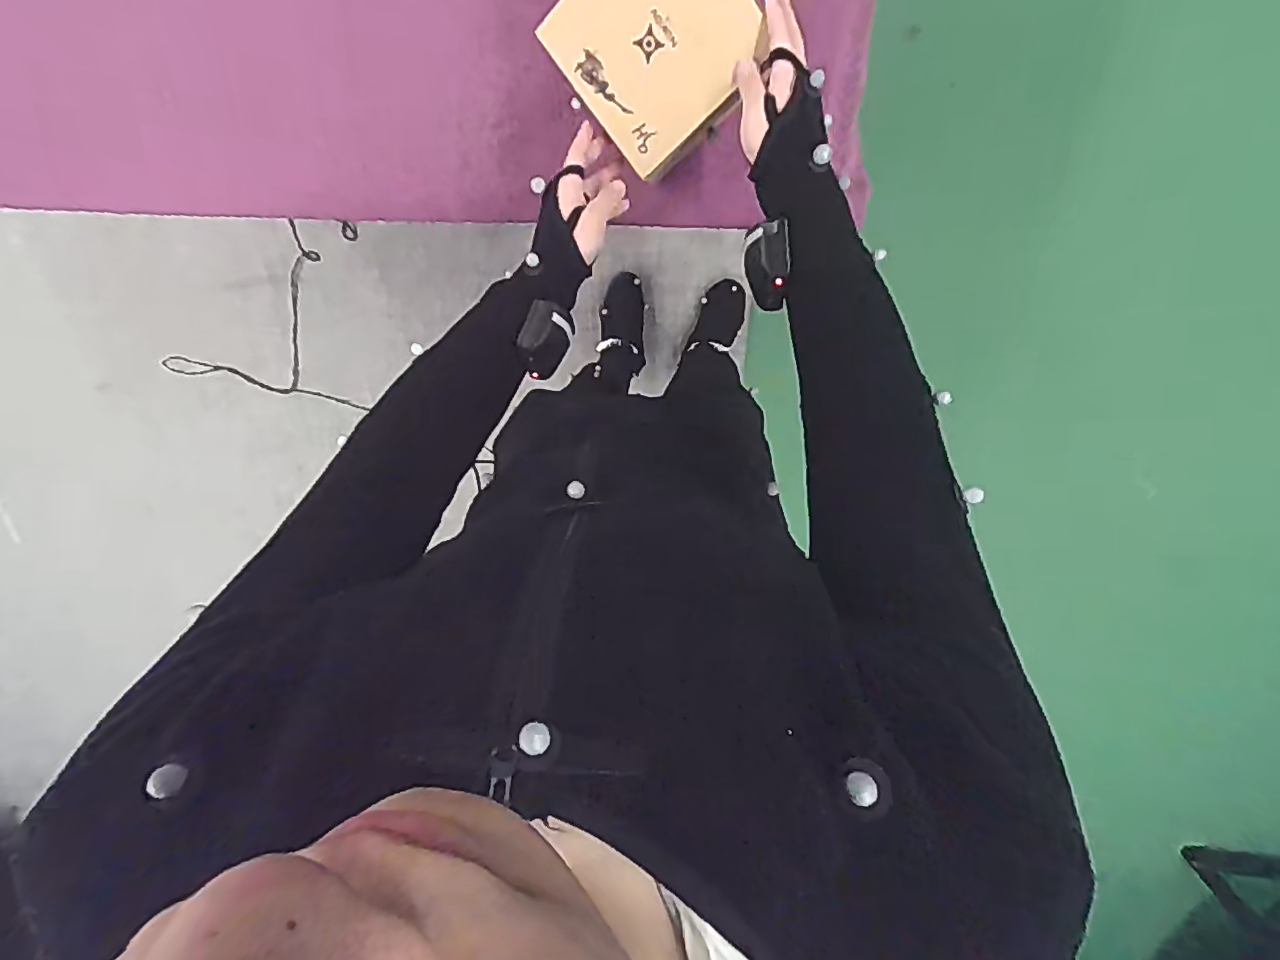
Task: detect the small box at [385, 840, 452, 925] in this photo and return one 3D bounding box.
[{"bbox_3d":[-0.773,1.410,1.899,0.168,0.176,0.179,14,115,-1],"label":"small box"}]

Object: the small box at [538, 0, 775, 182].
[{"bbox_3d":[0.021,-0.458,0.591,0.179,0.176,0.168,-34,108,22],"label":"small box"}]
